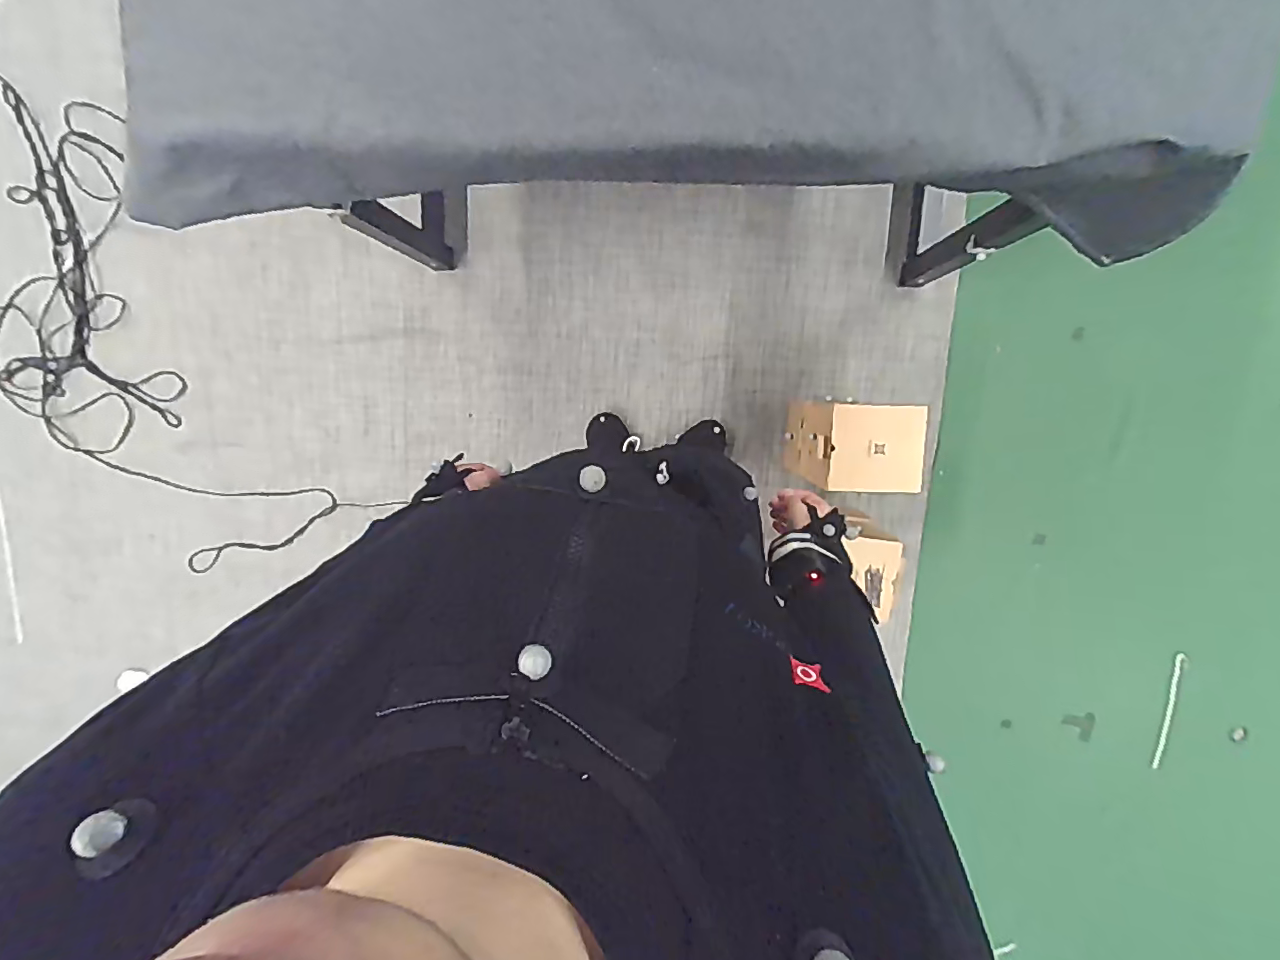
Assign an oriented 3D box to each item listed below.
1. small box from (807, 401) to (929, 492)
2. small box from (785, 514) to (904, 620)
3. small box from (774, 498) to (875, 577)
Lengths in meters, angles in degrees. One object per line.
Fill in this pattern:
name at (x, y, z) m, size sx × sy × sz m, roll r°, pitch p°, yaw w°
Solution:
small box at (0.448, -0.073, 1.085) m, size 0.179 × 0.176 × 0.168 m, roll 1°, pitch 99°, yaw 4°
small box at (0.416, 0.173, 1.125) m, size 0.179 × 0.176 × 0.168 m, roll 8°, pitch 98°, yaw 4°
small box at (0.430, 0.142, 1.286) m, size 0.179 × 0.176 × 0.168 m, roll 8°, pitch 98°, yaw 5°
